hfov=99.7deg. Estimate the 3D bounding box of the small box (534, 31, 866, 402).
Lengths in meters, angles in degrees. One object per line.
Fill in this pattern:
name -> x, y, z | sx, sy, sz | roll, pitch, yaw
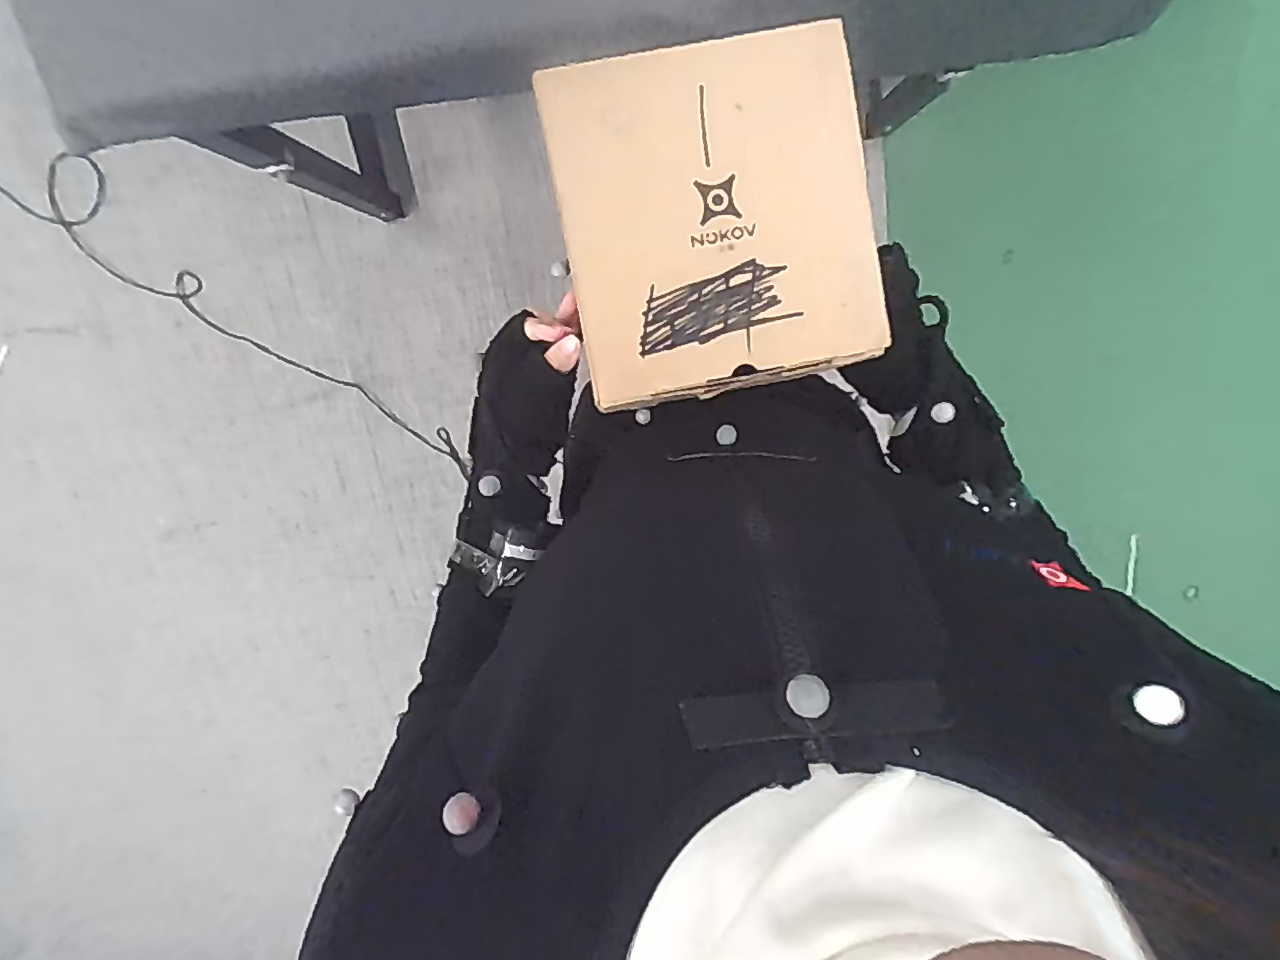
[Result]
small box -> 0.032, -0.152, 0.376 | 0.168, 0.176, 0.179 | -10, 96, -3
